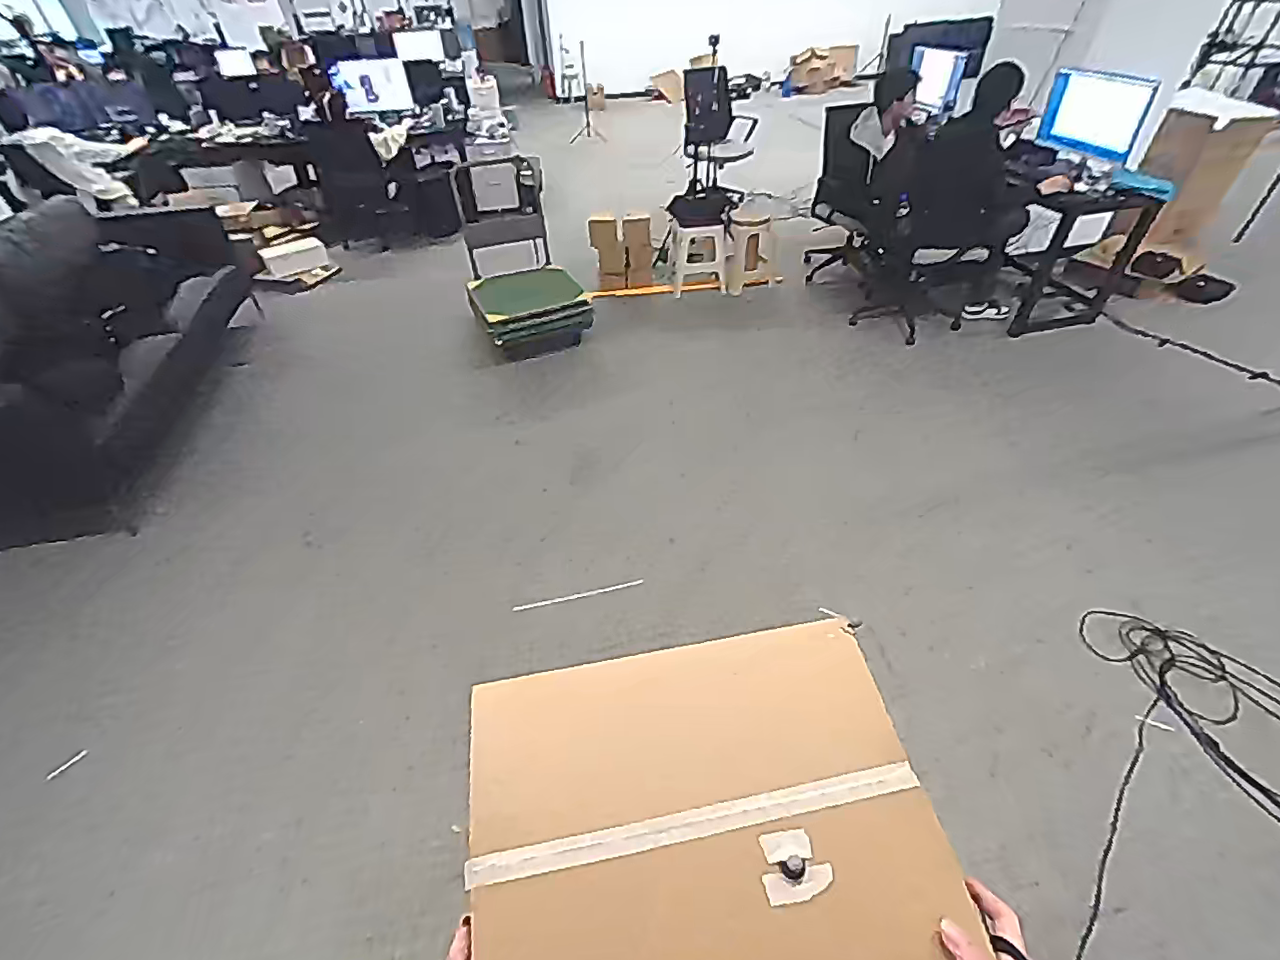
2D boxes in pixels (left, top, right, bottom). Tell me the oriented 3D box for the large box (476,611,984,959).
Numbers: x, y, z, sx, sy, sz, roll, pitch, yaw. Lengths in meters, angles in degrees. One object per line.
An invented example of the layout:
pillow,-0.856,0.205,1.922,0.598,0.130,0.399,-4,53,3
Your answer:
large box,0.053,0.387,0.612,0.408,0.320,0.320,-9,54,-6
